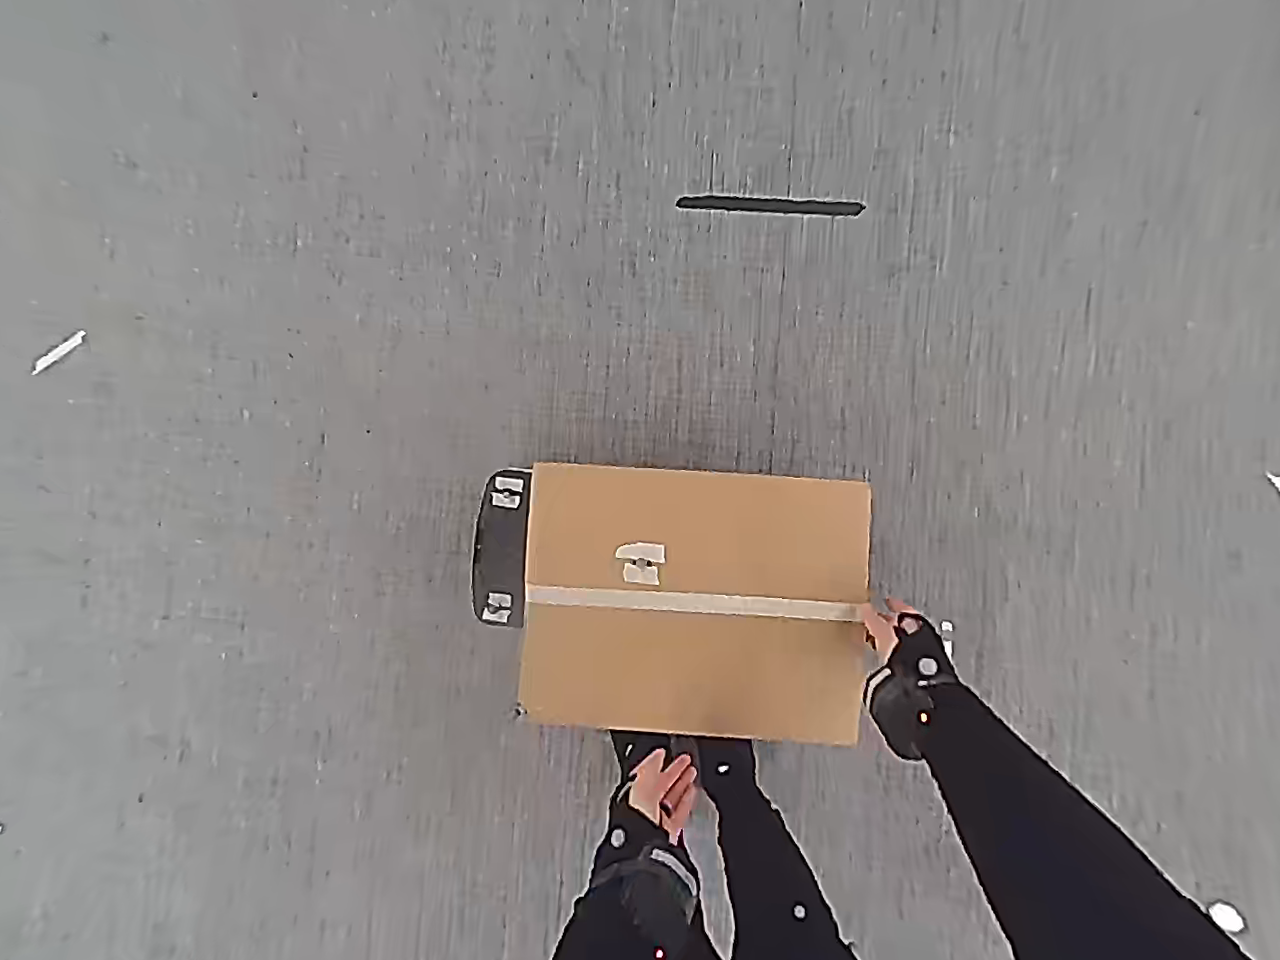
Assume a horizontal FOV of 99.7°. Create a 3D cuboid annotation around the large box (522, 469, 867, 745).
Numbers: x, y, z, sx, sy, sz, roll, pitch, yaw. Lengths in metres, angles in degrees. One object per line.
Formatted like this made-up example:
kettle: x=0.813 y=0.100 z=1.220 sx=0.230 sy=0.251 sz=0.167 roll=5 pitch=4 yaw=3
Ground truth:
large box: x=0.070 y=0.150 z=0.786 sx=0.408 sy=0.320 sz=0.320 roll=3 pitch=88 yaw=2
